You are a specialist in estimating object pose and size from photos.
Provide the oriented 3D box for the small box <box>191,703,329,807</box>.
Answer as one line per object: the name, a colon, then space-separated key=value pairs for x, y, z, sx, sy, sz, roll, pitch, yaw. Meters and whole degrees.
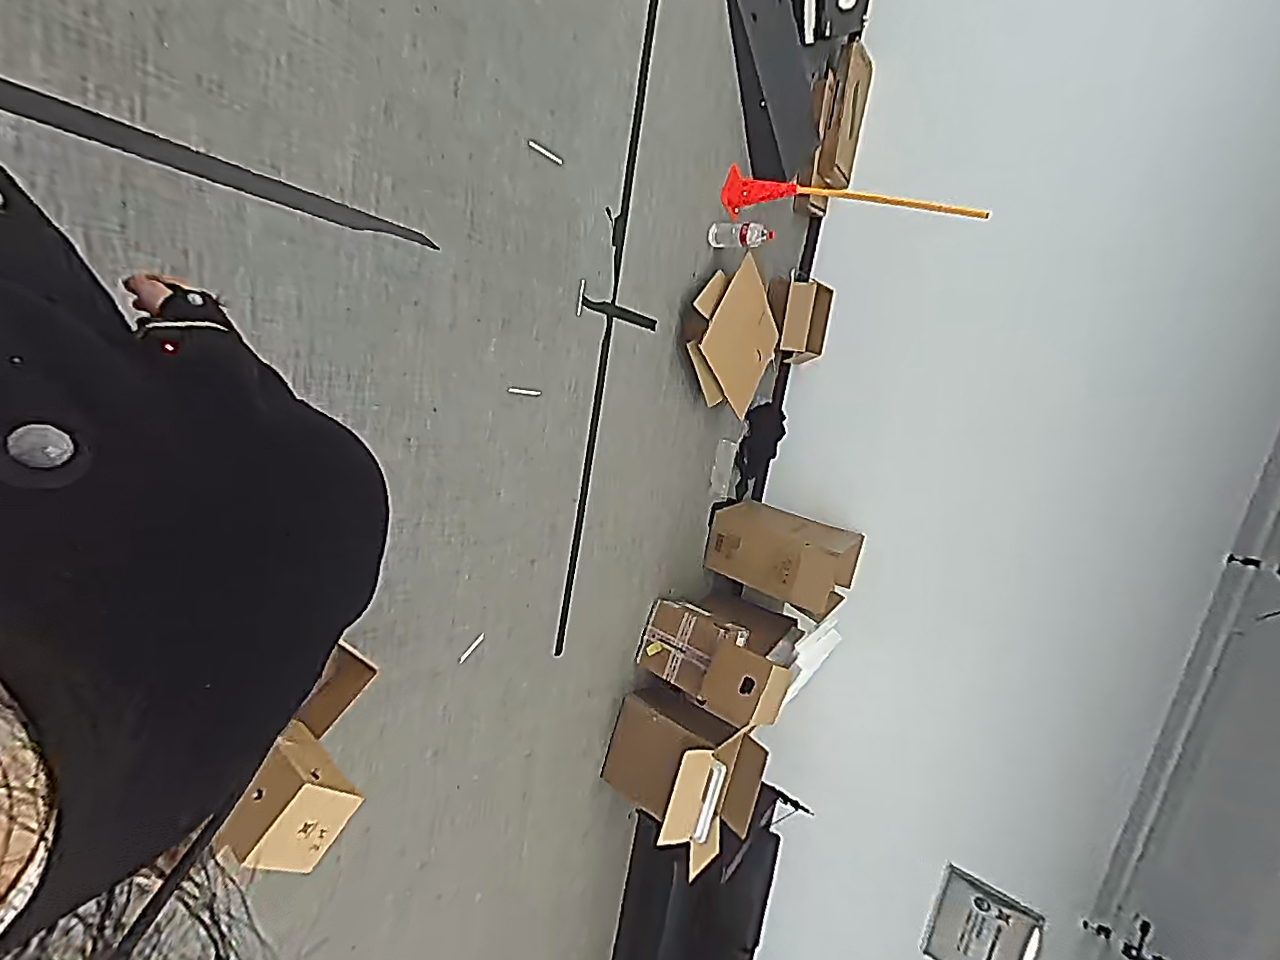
small box: x=-0.887 y=0.650 z=1.262 sx=0.168 sy=0.176 sz=0.179 roll=-55 pitch=144 yaw=-23

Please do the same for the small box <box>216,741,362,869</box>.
small box: x=-0.758 y=0.695 z=1.167 sx=0.168 sy=0.176 sz=0.179 roll=-54 pitch=142 yaw=-23
